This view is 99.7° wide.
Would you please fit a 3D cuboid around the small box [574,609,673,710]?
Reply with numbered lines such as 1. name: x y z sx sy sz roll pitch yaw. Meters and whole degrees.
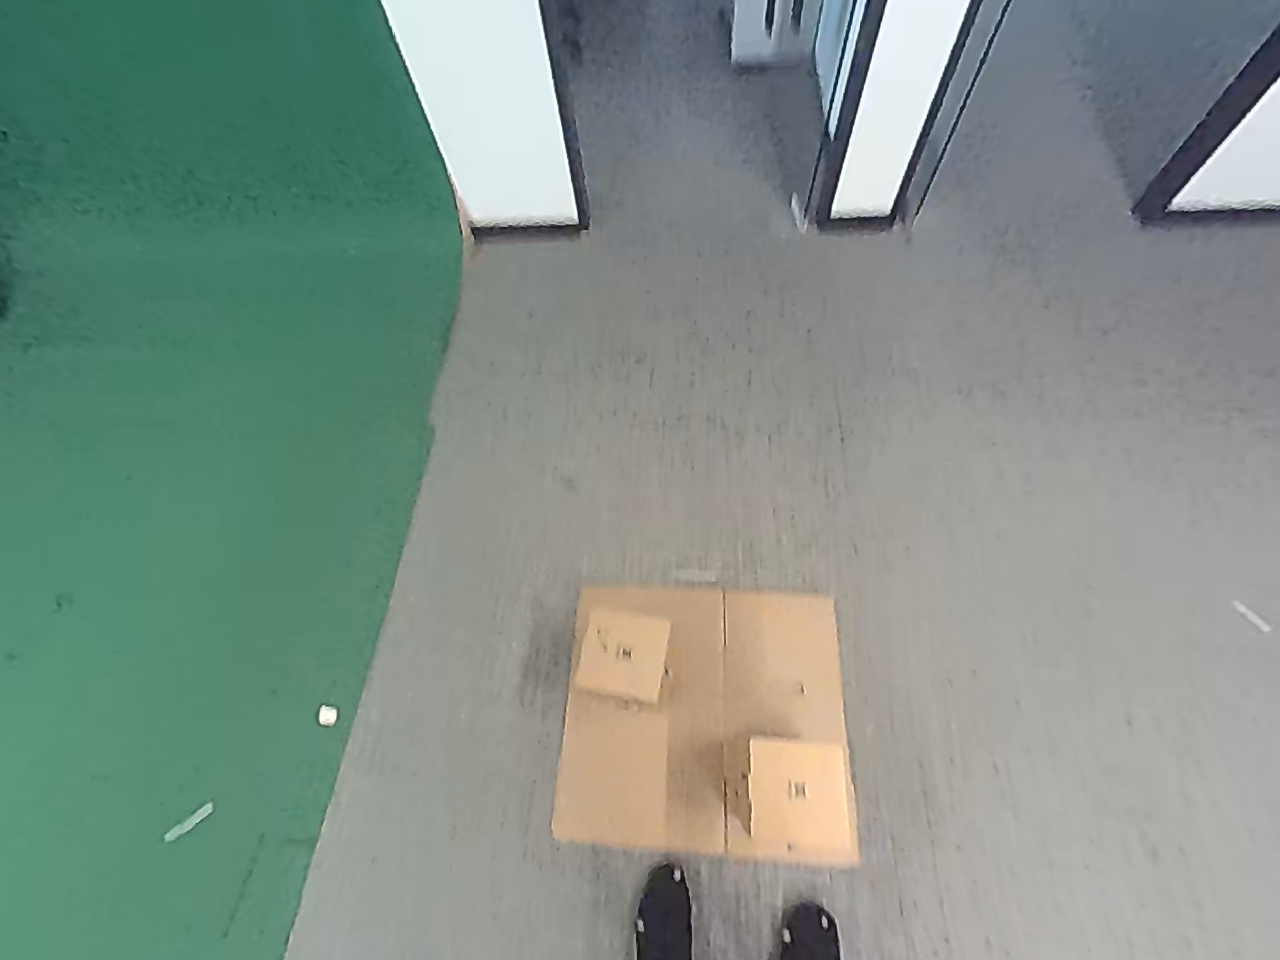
1. small box: -0.027 0.397 1.182 0.179 0.176 0.168 9 63 9

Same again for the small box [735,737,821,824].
1. small box: 0.305 0.674 1.201 0.179 0.176 0.168 2 63 6

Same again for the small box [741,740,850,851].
1. small box: 0.293 0.606 1.055 0.179 0.176 0.168 1 63 6
